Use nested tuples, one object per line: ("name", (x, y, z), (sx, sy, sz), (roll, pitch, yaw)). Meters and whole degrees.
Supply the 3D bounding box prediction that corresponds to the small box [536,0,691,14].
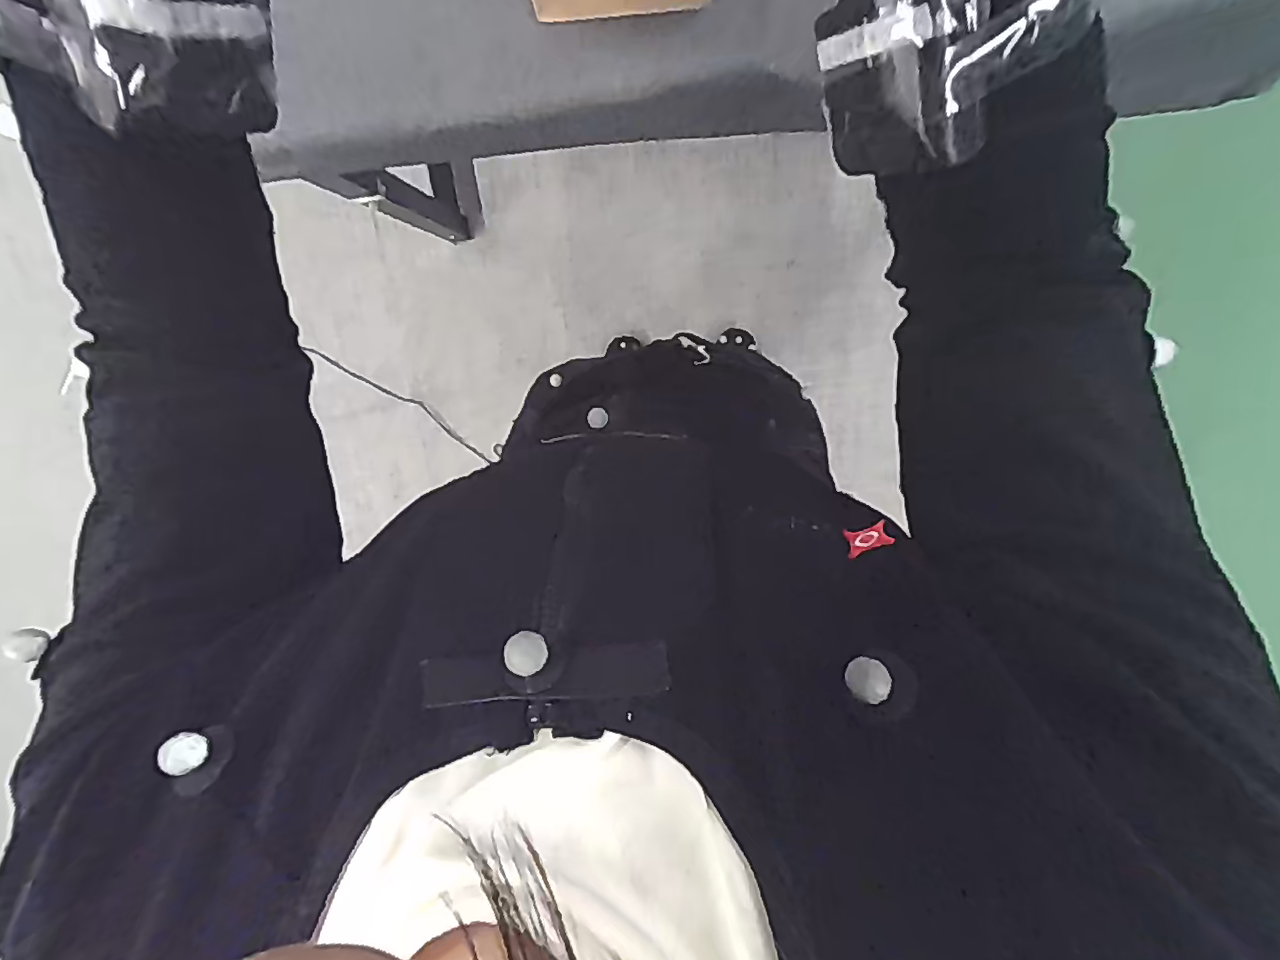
("small box", (-0.027, -0.535, 0.454), (0.179, 0.176, 0.168), (-3, 104, 2))
